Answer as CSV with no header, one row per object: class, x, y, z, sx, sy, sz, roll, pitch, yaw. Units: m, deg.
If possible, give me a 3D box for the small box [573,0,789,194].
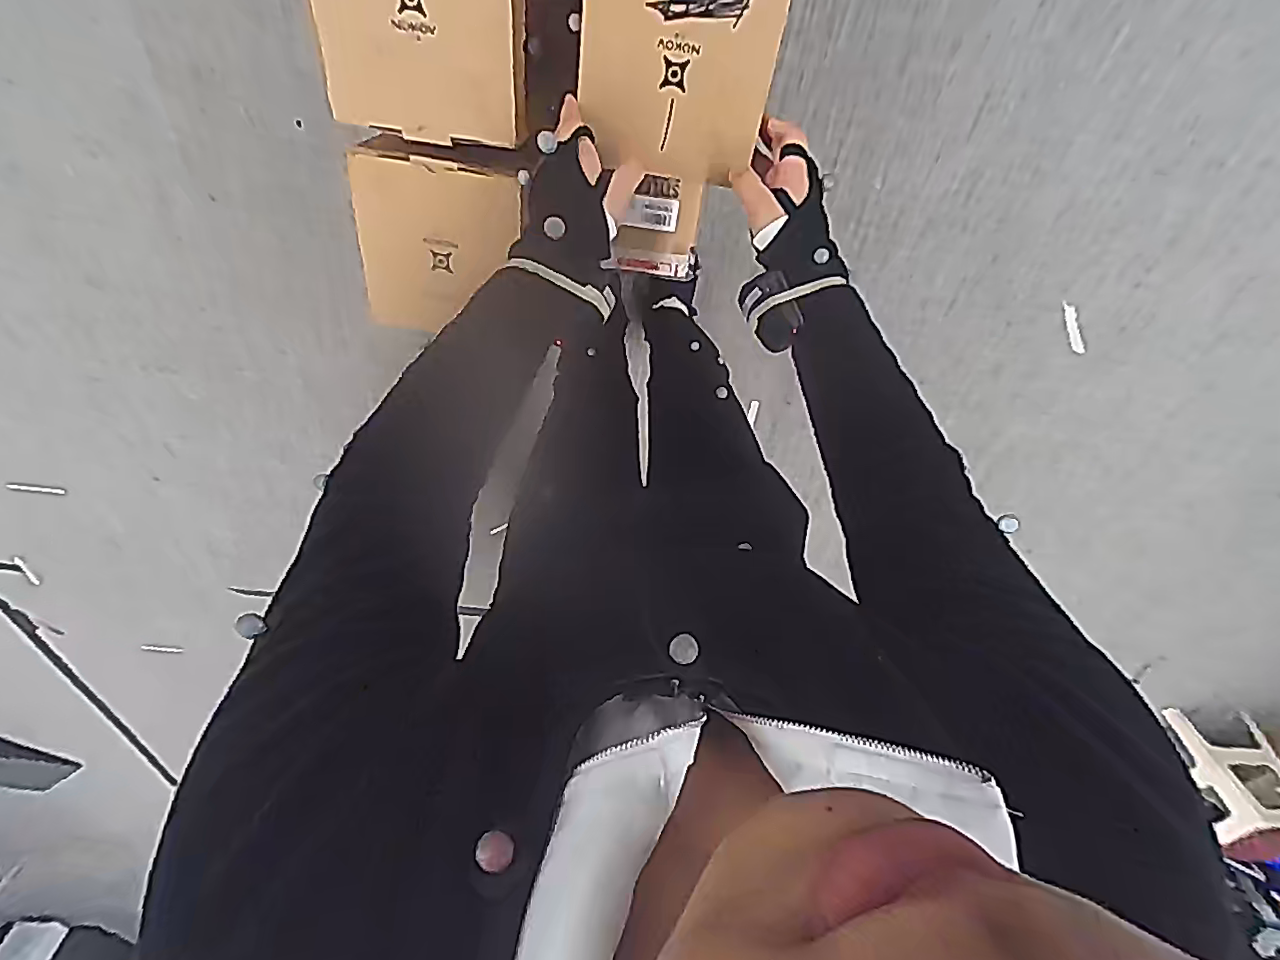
small box,0.029,-0.400,0.518,0.168,0.176,0.179,6,131,-5
